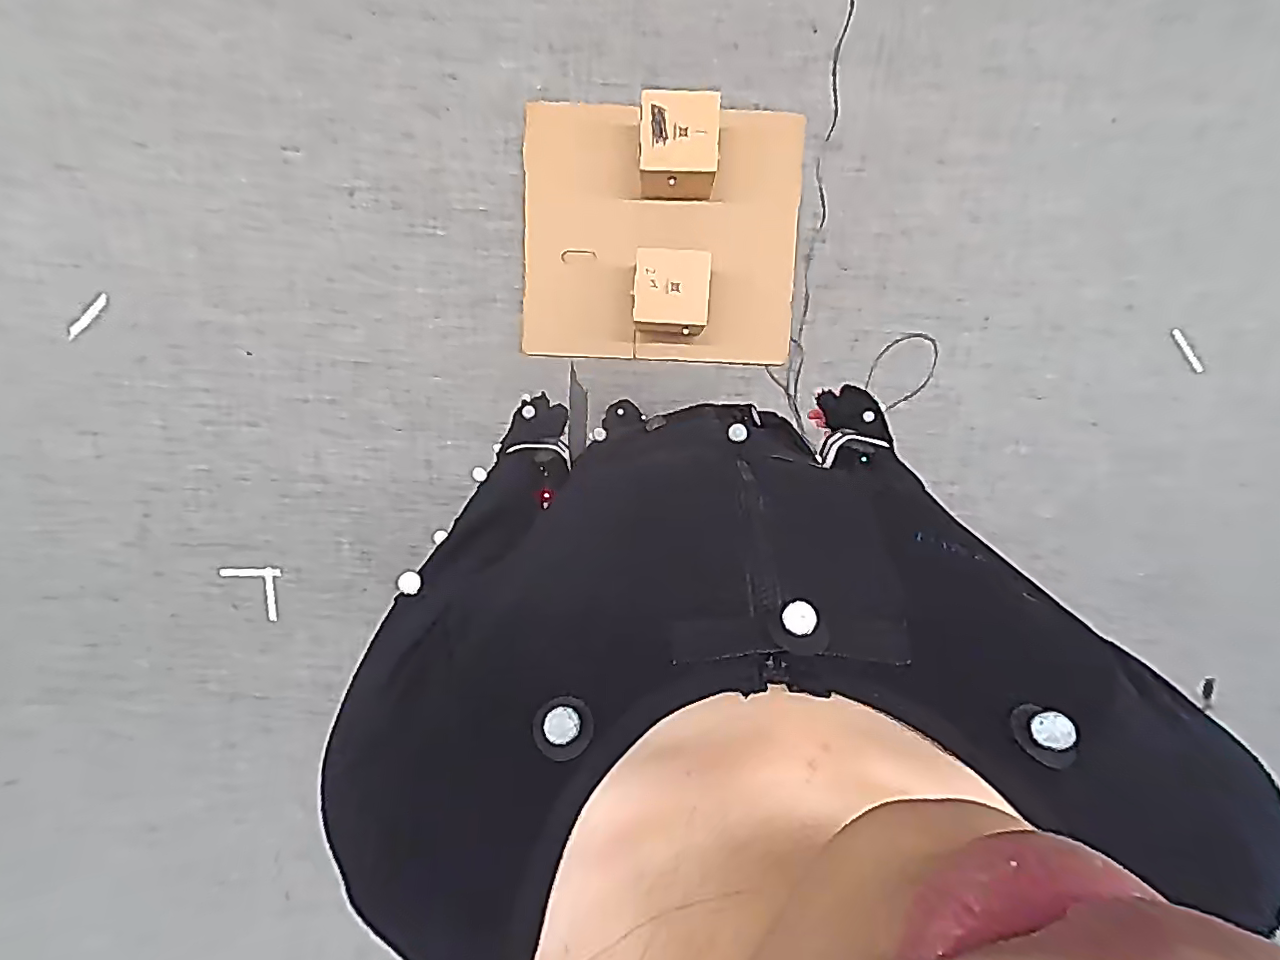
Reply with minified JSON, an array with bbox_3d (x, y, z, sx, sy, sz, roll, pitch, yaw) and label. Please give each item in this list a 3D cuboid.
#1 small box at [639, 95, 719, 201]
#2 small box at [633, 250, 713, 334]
[{"bbox_3d":[0.089,-0.778,1.283,0.179,0.176,0.168,1,99,1],"label":"small box"},{"bbox_3d":[0.078,-0.455,1.330,0.179,0.176,0.168,4,98,2],"label":"small box"}]
